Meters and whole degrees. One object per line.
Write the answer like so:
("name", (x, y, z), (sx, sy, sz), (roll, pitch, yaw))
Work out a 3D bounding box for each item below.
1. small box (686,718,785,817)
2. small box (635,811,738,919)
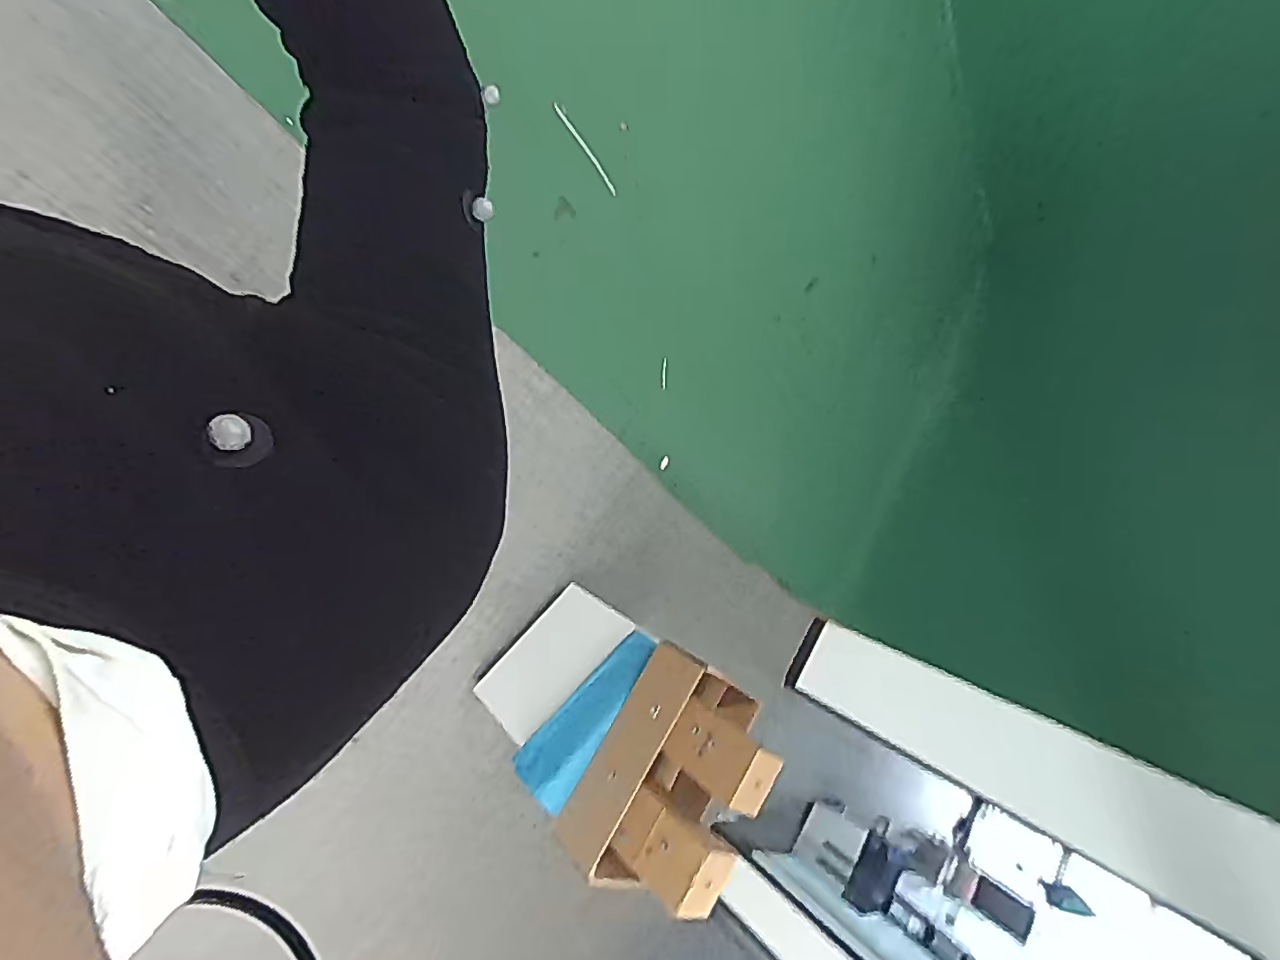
("small box", (0.259, 0.783, 1.481), (0.179, 0.176, 0.168), (44, 74, -41))
("small box", (0.122, 1.012, 1.429), (0.179, 0.176, 0.168), (45, 73, -41))
